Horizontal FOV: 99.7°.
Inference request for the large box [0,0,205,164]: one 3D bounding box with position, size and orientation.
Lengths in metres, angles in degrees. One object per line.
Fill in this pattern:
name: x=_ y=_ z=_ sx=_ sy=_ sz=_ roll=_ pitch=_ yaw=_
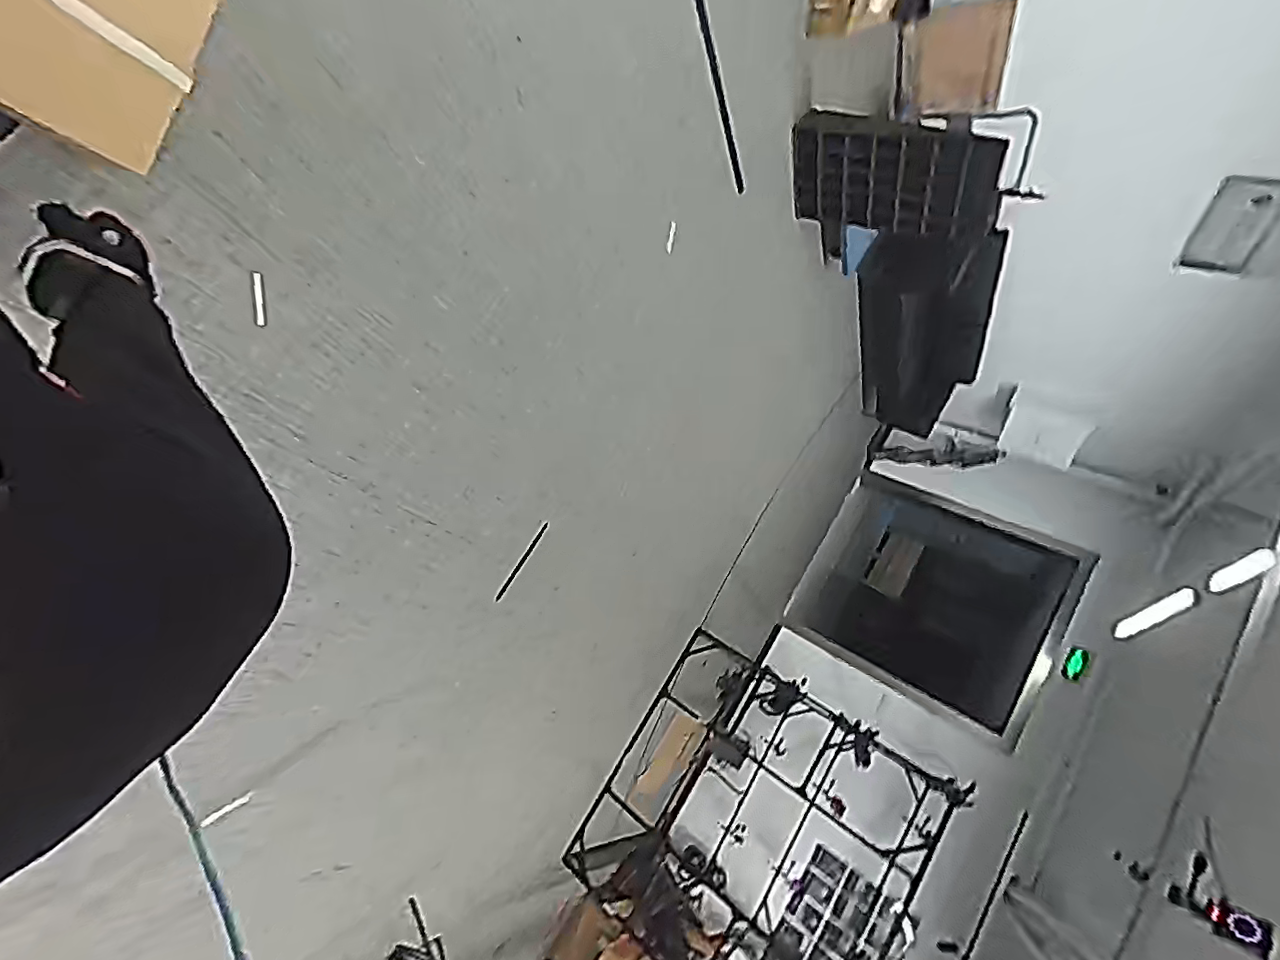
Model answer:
large box: x=-0.916 y=-0.712 z=0.735 sx=0.408 sy=0.320 sz=0.320 roll=21 pitch=95 yaw=-58
